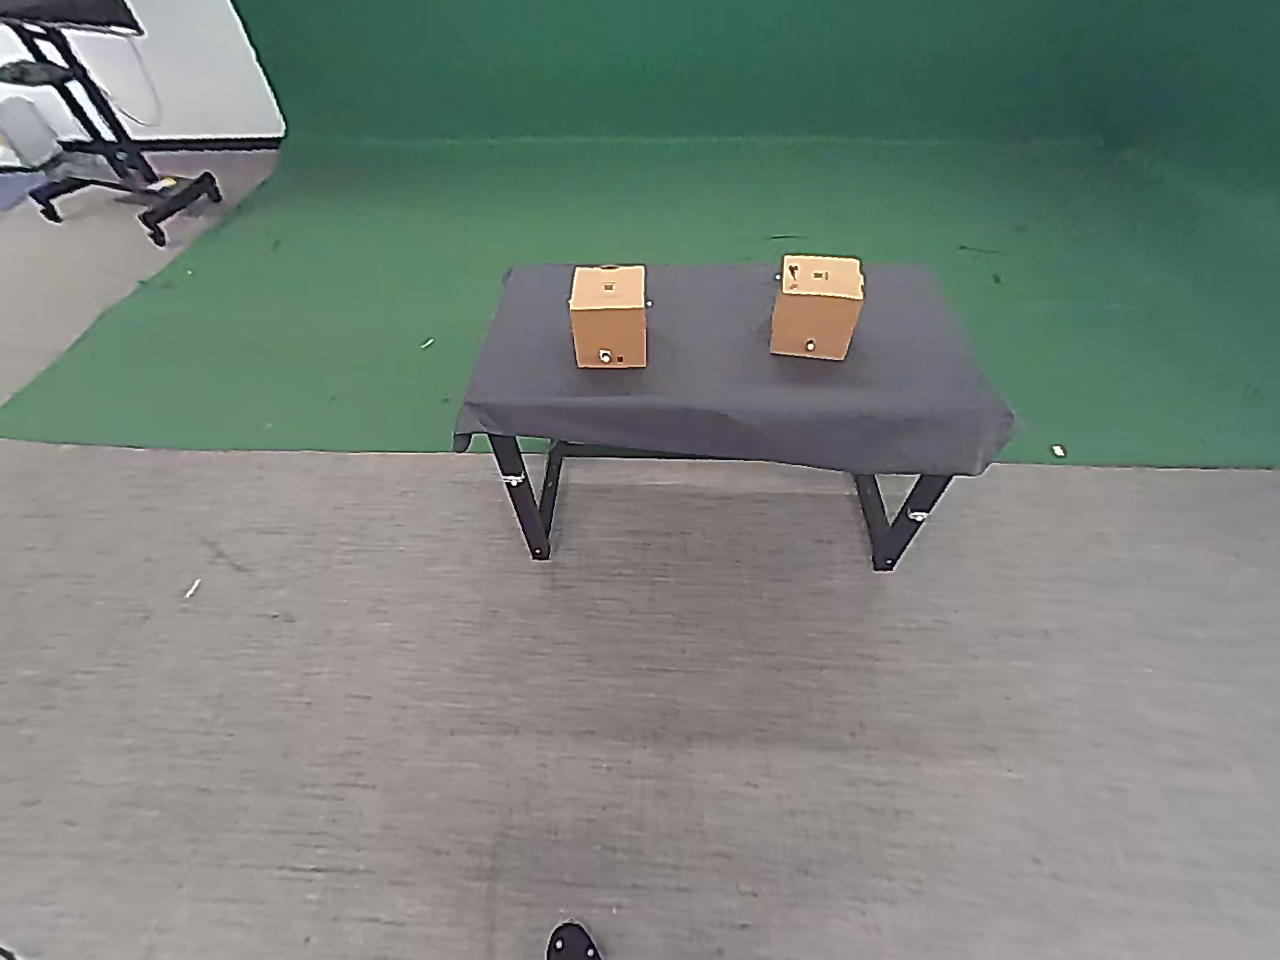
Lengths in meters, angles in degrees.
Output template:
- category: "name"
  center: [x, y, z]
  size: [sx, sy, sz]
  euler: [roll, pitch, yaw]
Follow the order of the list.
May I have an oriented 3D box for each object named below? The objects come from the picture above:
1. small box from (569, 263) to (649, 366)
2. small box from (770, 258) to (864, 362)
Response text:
- category: "small box"
  center: [-0.066, -0.390, 1.275]
  size: [0.168, 0.176, 0.179]
  euler: [0, 51, 4]
- category: "small box"
  center: [0.417, -0.401, 1.290]
  size: [0.179, 0.176, 0.168]
  euler: [8, 52, 8]
